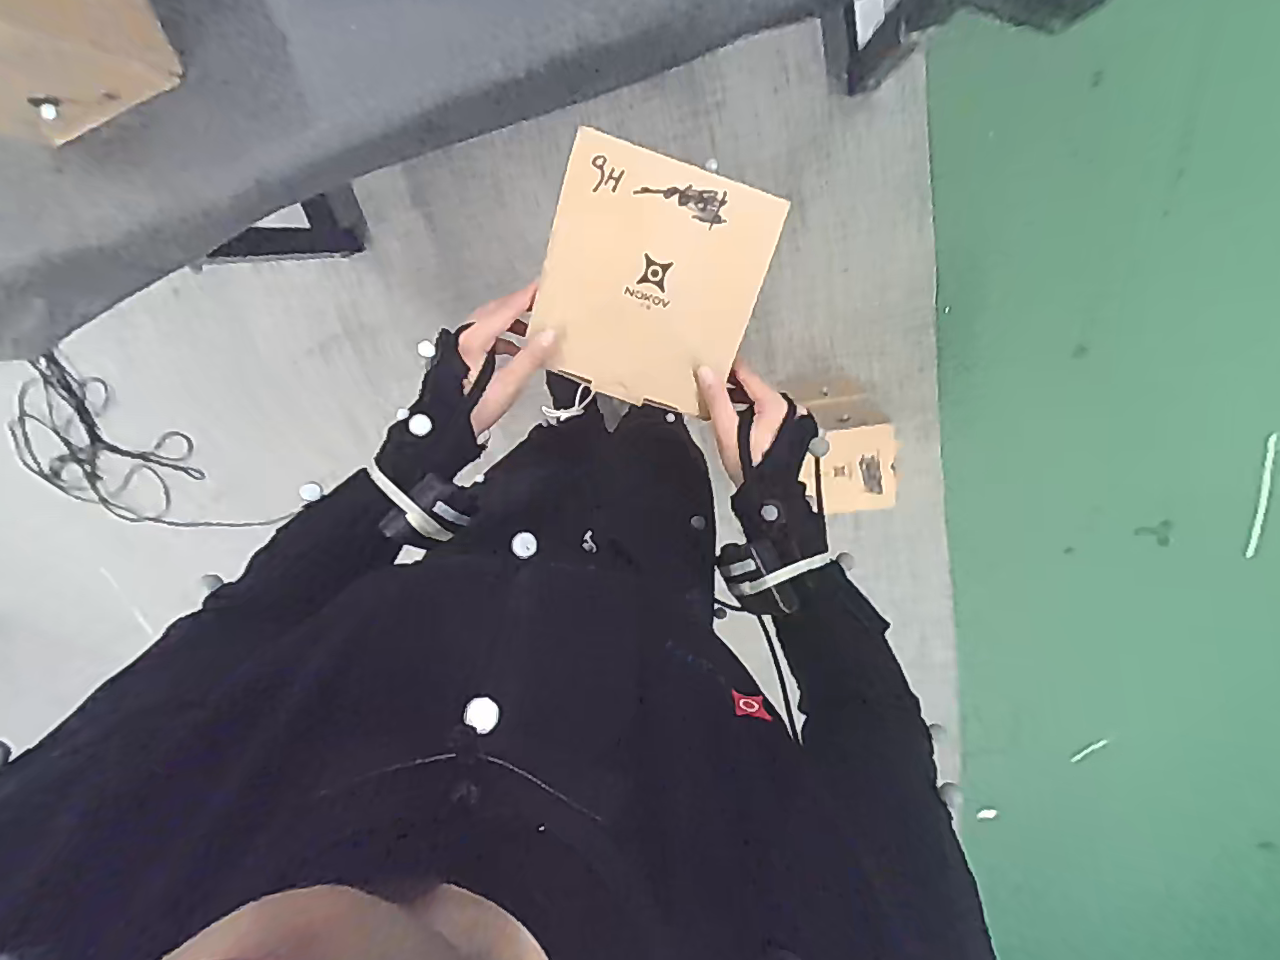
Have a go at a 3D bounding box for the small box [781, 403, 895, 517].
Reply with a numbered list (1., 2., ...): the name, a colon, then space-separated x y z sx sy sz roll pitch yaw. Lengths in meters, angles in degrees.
1. small box: 0.376 -0.044 1.046 0.179 0.176 0.168 -6 111 11

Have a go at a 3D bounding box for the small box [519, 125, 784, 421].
1. small box: 0.006 -0.175 0.489 0.168 0.176 0.179 17 108 -6

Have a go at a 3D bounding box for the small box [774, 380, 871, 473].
1. small box: 0.397 -0.115 1.192 0.179 0.176 0.168 -6 112 12

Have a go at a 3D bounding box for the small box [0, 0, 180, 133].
1. small box: -0.509 -0.388 0.392 0.168 0.176 0.179 -14 111 12
